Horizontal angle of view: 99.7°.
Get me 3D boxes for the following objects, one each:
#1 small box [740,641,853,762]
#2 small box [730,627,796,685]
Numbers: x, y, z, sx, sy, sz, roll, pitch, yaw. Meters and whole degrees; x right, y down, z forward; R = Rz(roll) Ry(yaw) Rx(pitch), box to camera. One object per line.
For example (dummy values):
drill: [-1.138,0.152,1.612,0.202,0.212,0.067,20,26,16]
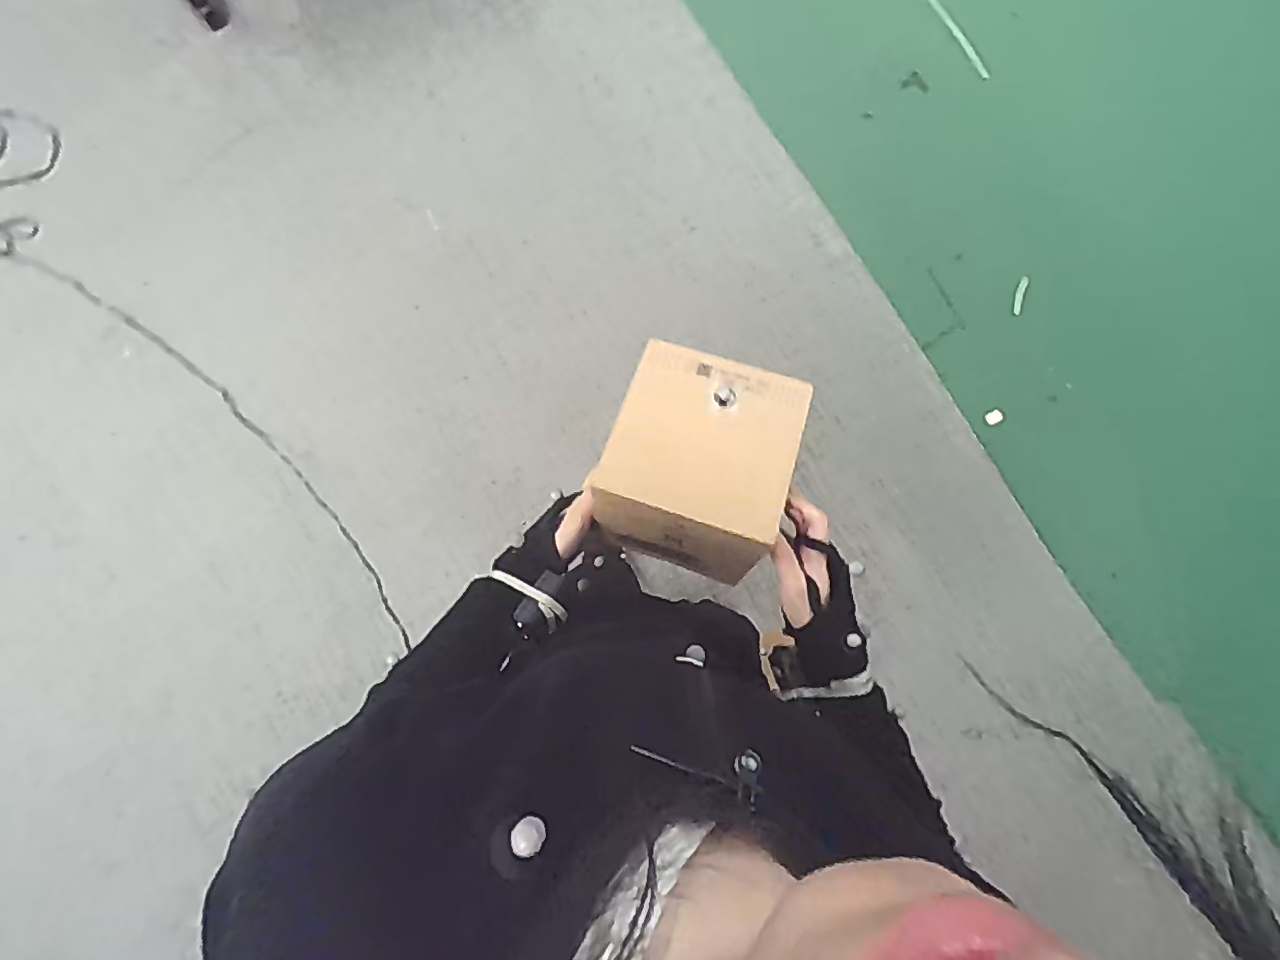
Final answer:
small box: [0.349,0.502,1.253,0.179,0.176,0.168,-35,88,-4]
small box: [0.352,0.512,1.418,0.179,0.176,0.168,-35,87,-4]
